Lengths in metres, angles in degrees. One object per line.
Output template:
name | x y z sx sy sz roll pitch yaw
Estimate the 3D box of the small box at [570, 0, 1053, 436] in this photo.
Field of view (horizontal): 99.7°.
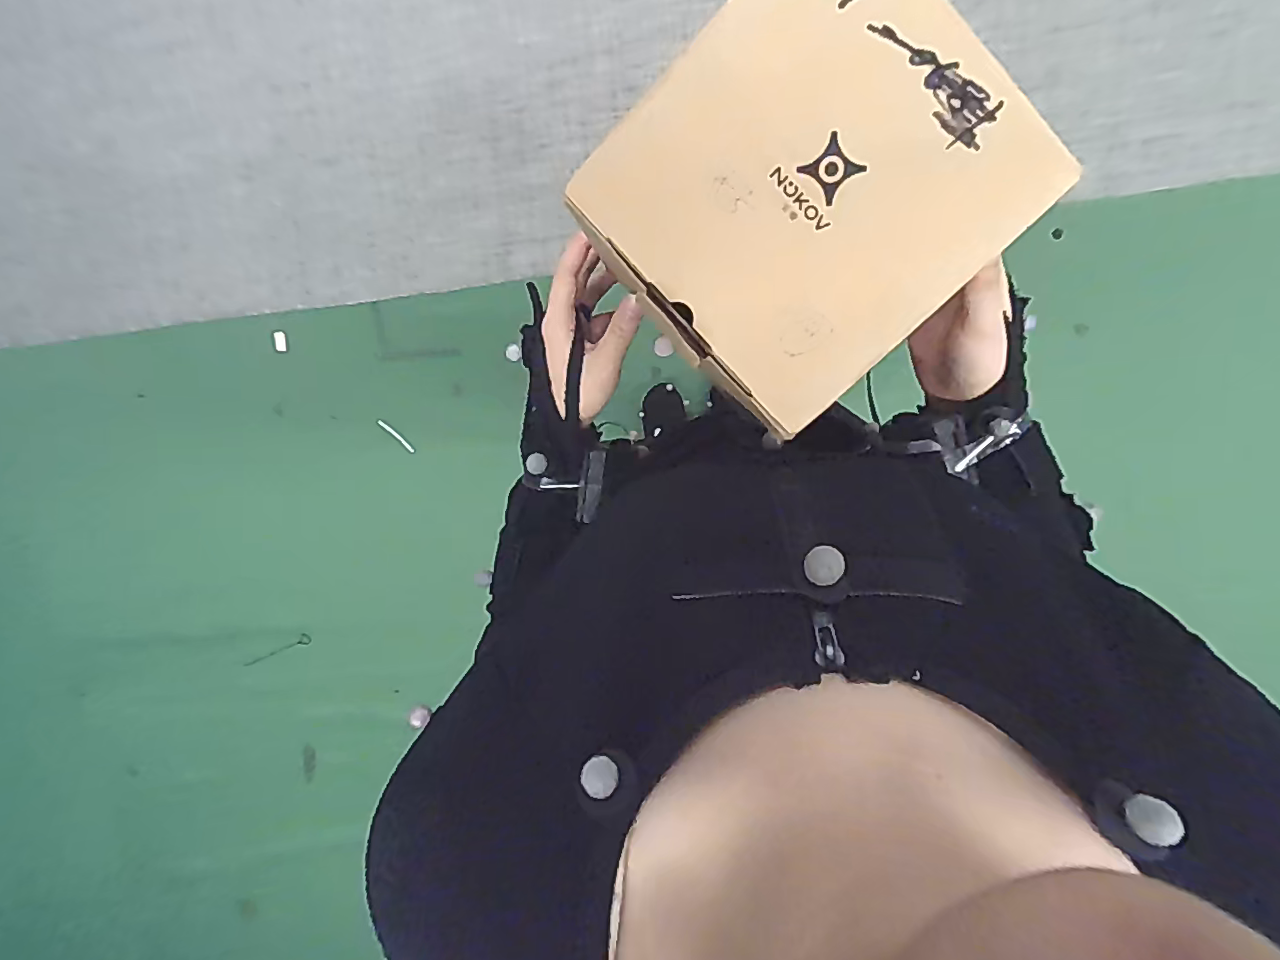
small box | 0.086 -0.150 0.342 0.179 0.176 0.168 -43 95 10
